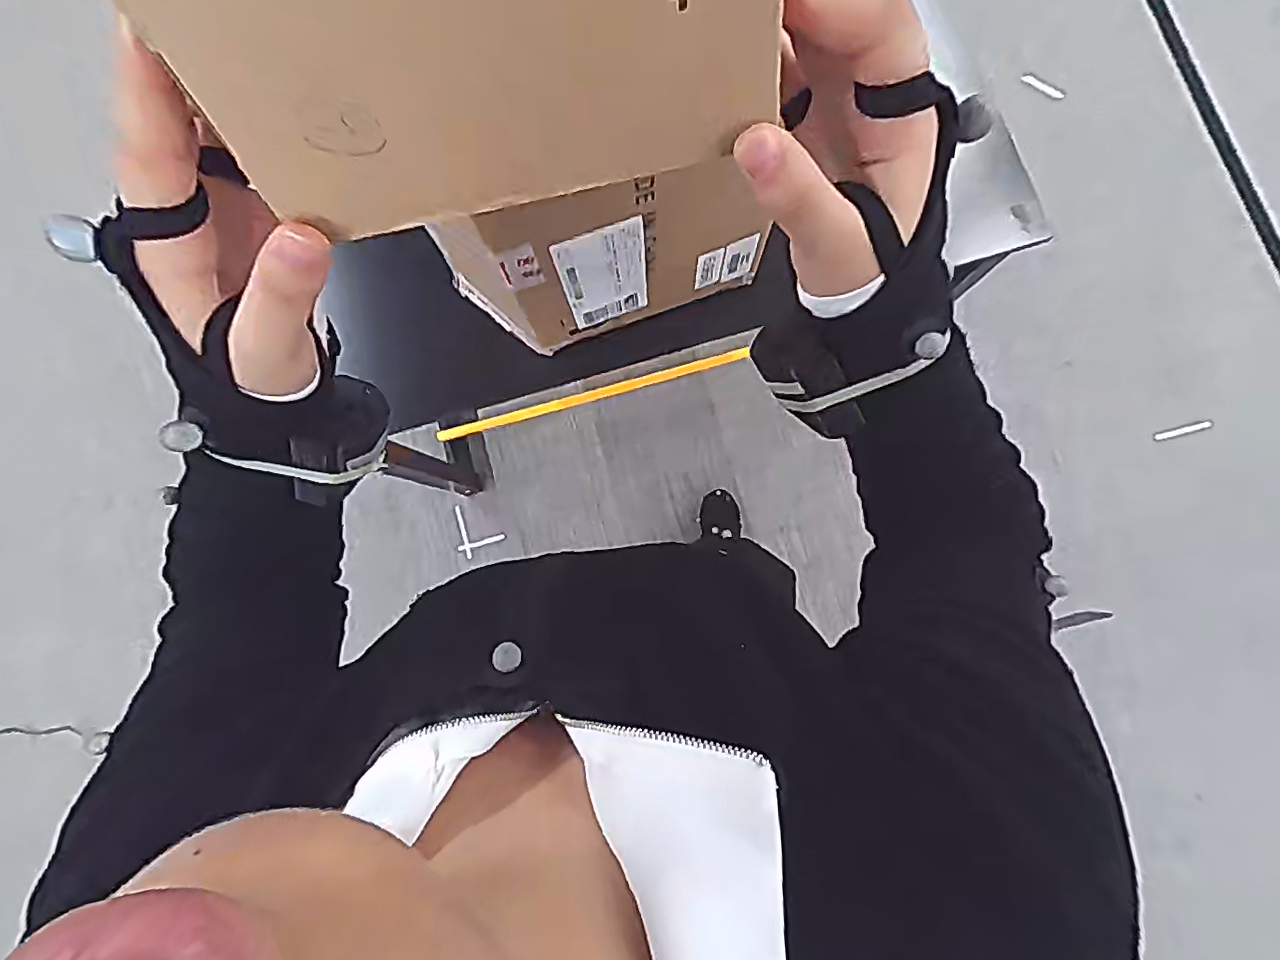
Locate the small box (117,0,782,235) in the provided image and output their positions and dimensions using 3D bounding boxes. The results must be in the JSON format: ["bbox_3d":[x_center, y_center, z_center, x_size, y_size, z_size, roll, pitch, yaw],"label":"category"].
[{"bbox_3d":[-0.058,-0.209,0.166,0.179,0.168,0.176,-9,54,6],"label":"small box"}]
